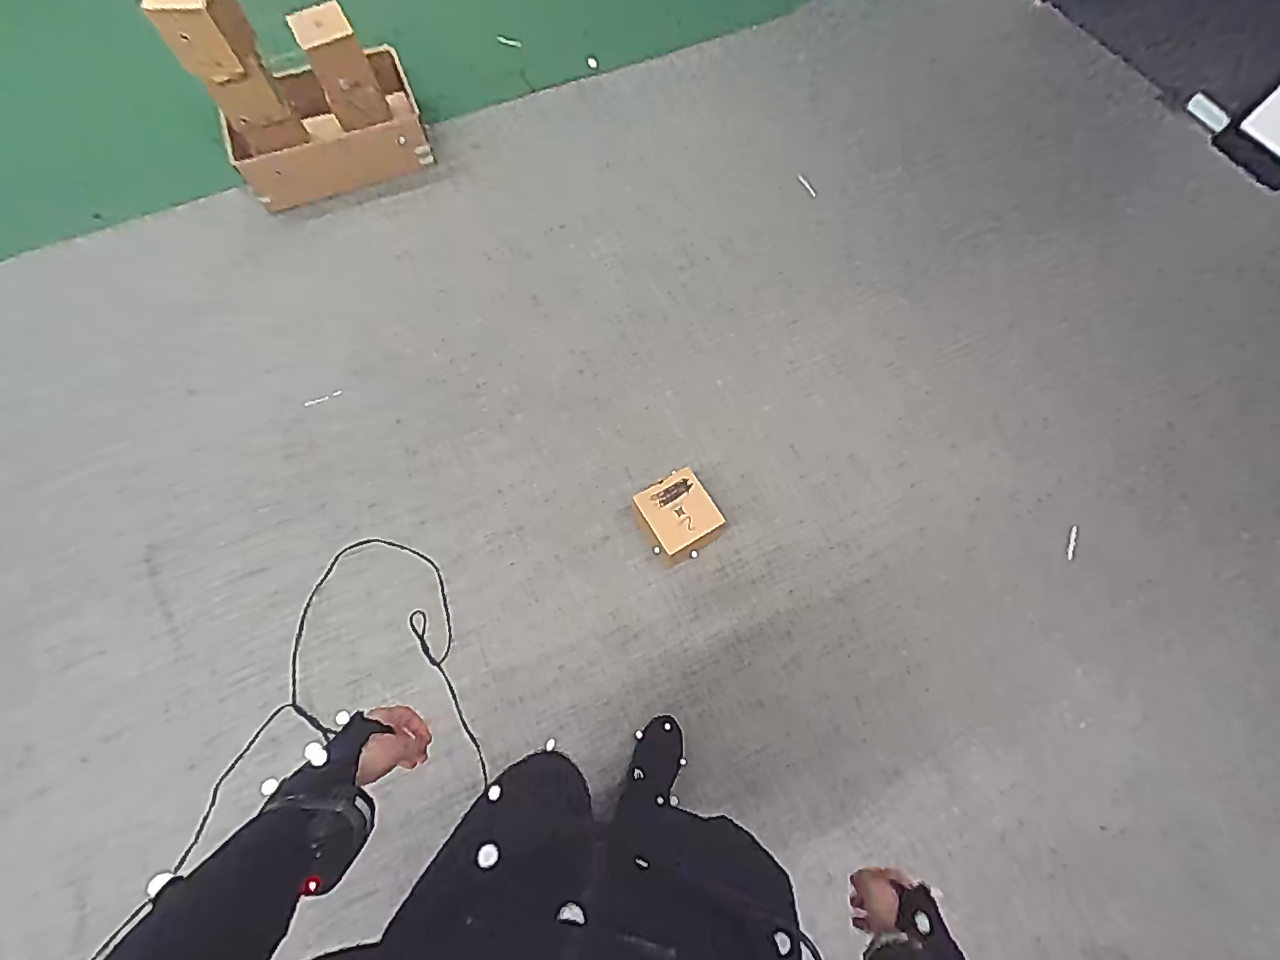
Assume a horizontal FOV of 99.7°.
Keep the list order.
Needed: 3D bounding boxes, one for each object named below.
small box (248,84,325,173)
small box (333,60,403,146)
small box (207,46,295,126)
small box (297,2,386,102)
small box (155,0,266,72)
[{"bbox_3d":[-1.219,-1.200,1.852,0.168,0.176,0.179,-24,71,-9],"label":"small box"},{"bbox_3d":[-0.959,-1.324,1.903,0.168,0.176,0.179,-18,70,-6],"label":"small box"},{"bbox_3d":[-1.219,-1.248,1.695,0.168,0.176,0.179,-22,70,-9],"label":"small box"},{"bbox_3d":[-0.960,-1.379,1.749,0.168,0.176,0.179,-28,74,-8],"label":"small box"},{"bbox_3d":[-1.212,-1.302,1.541,0.168,0.176,0.179,-1,68,-1],"label":"small box"}]
